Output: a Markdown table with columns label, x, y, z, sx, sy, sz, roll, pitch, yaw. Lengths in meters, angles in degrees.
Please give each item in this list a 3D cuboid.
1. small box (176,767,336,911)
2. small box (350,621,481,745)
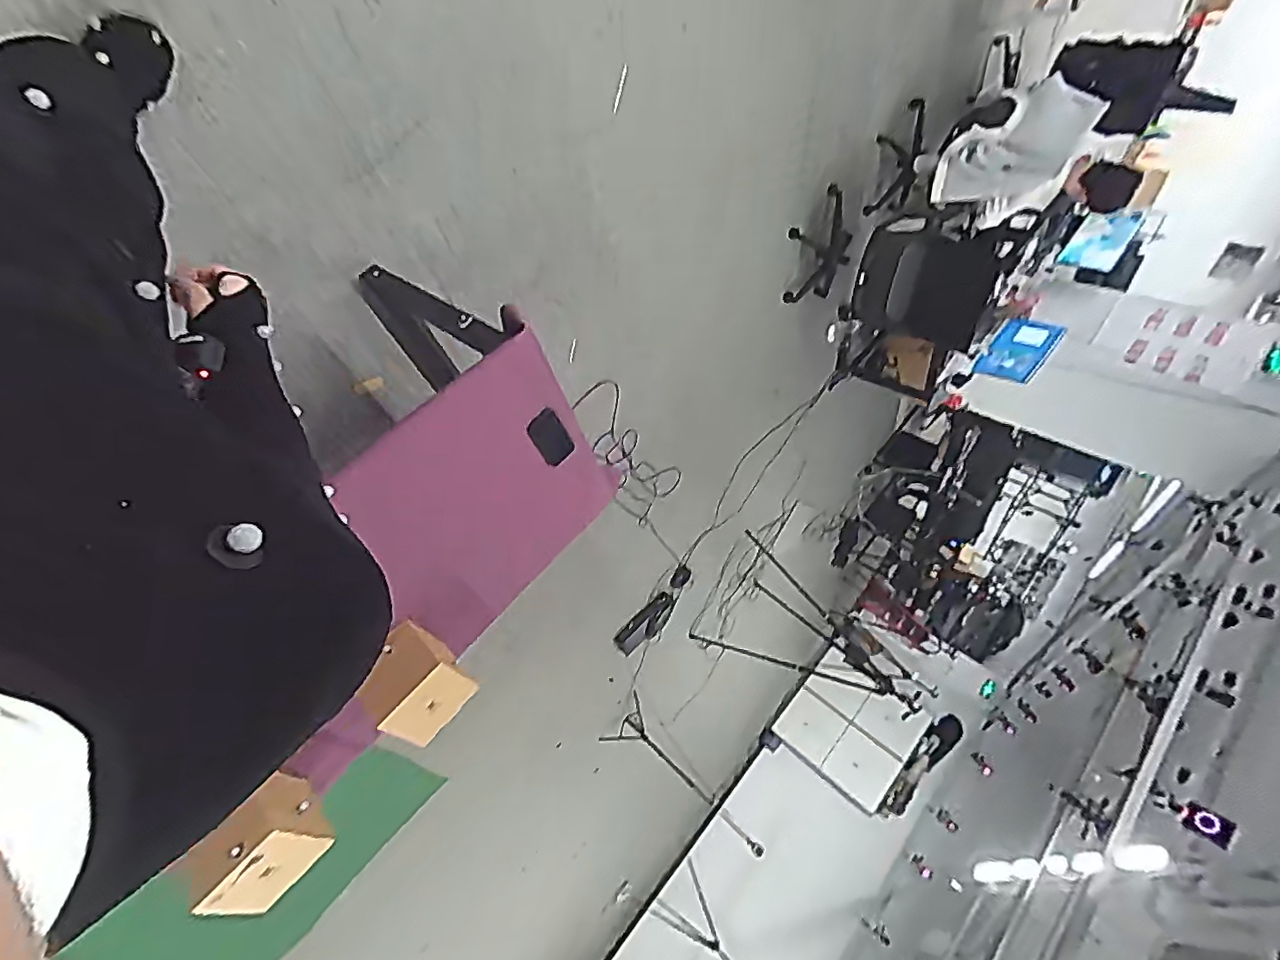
| label | x | y | z | sx | sy | sz | roll | pitch | yaw |
| --- | --- | --- | --- | --- | --- | --- | --- | --- | --- |
| small box | -0.756 | 0.704 | 1.070 | 0.168 | 0.176 | 0.179 | -45 | 145 | -19 |
| small box | -0.493 | 0.443 | 1.192 | 0.168 | 0.176 | 0.179 | -45 | 143 | -18 |
